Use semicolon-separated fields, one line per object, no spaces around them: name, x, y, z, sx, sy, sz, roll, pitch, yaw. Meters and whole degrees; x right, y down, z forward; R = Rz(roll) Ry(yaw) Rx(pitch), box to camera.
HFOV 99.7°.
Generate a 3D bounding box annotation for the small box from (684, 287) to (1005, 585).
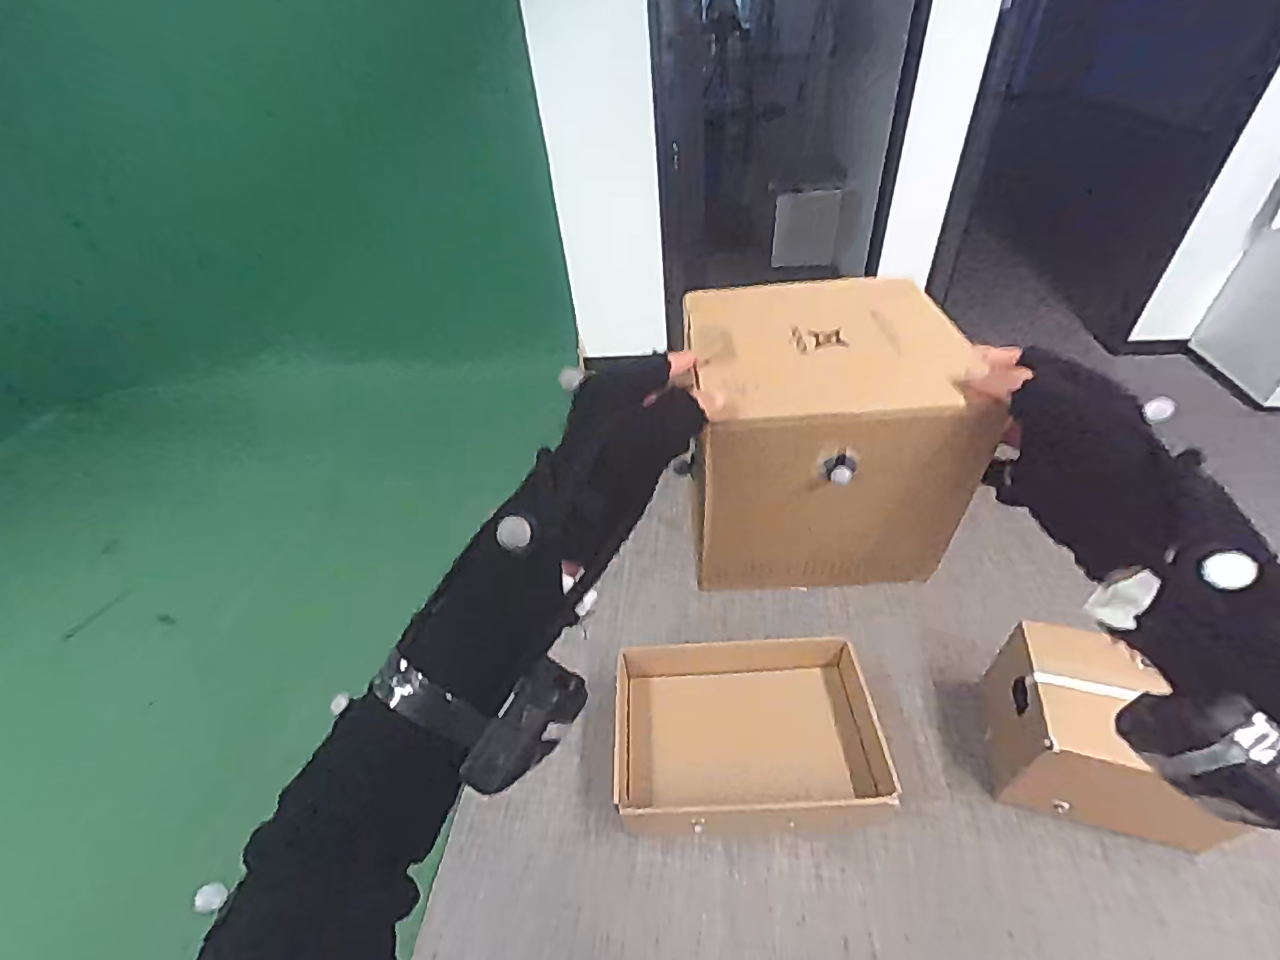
small box;0.125;-0.032;0.417;0.179;0.176;0.168;-2;43;2
